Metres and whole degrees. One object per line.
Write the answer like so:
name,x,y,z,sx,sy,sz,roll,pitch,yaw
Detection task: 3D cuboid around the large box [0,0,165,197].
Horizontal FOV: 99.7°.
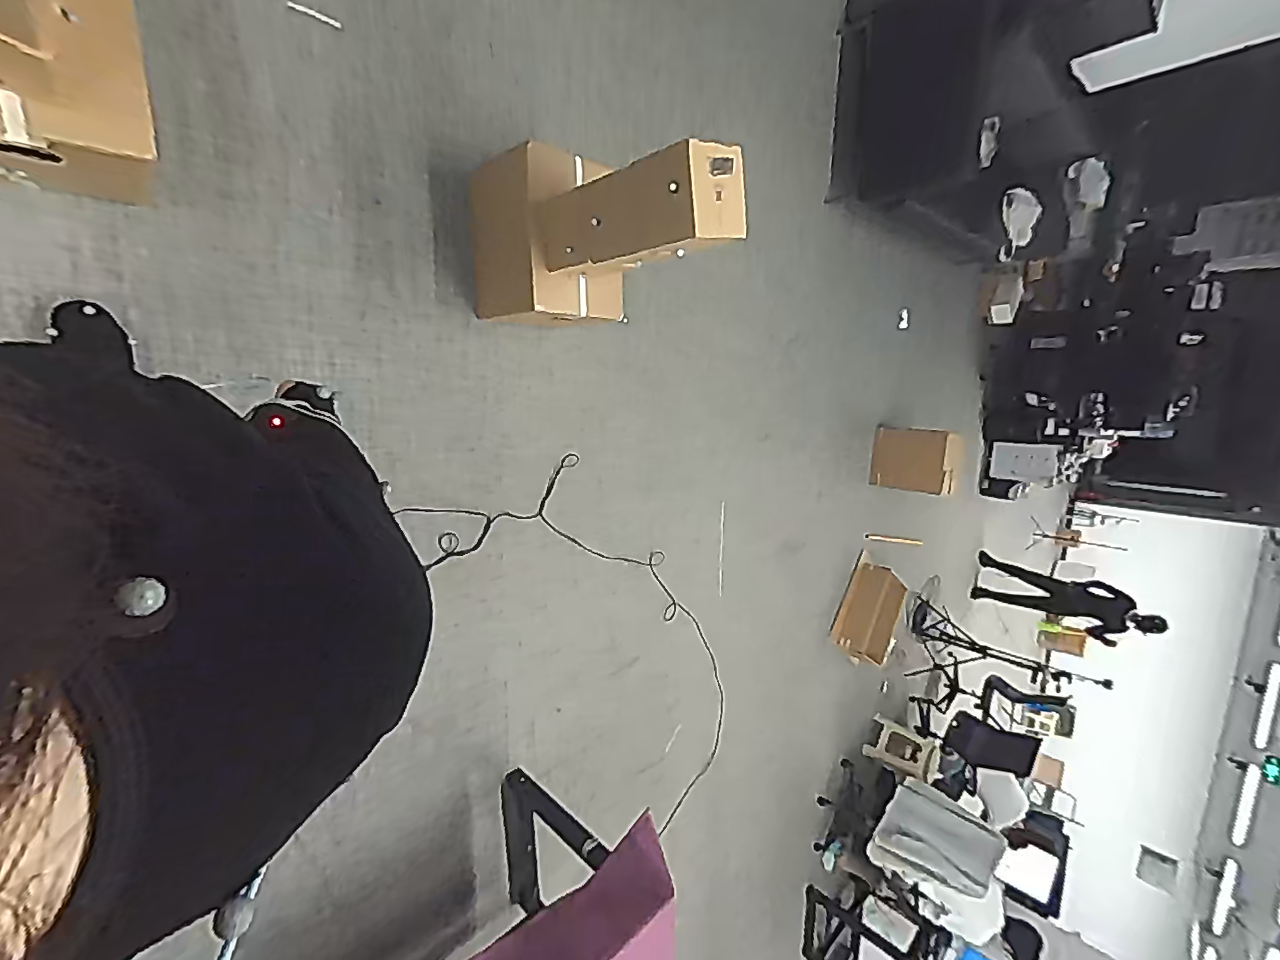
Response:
large box,-0.992,-0.722,0.852,0.320,0.320,0.408,-10,104,-42

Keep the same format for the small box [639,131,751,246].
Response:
small box,0.113,-0.601,1.136,0.168,0.176,0.179,-21,112,-38

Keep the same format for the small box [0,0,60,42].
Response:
small box,-0.724,-0.622,0.561,0.168,0.176,0.179,10,92,-43

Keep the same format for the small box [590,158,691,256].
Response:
small box,0.002,-0.623,1.257,0.168,0.176,0.179,-20,112,-39
